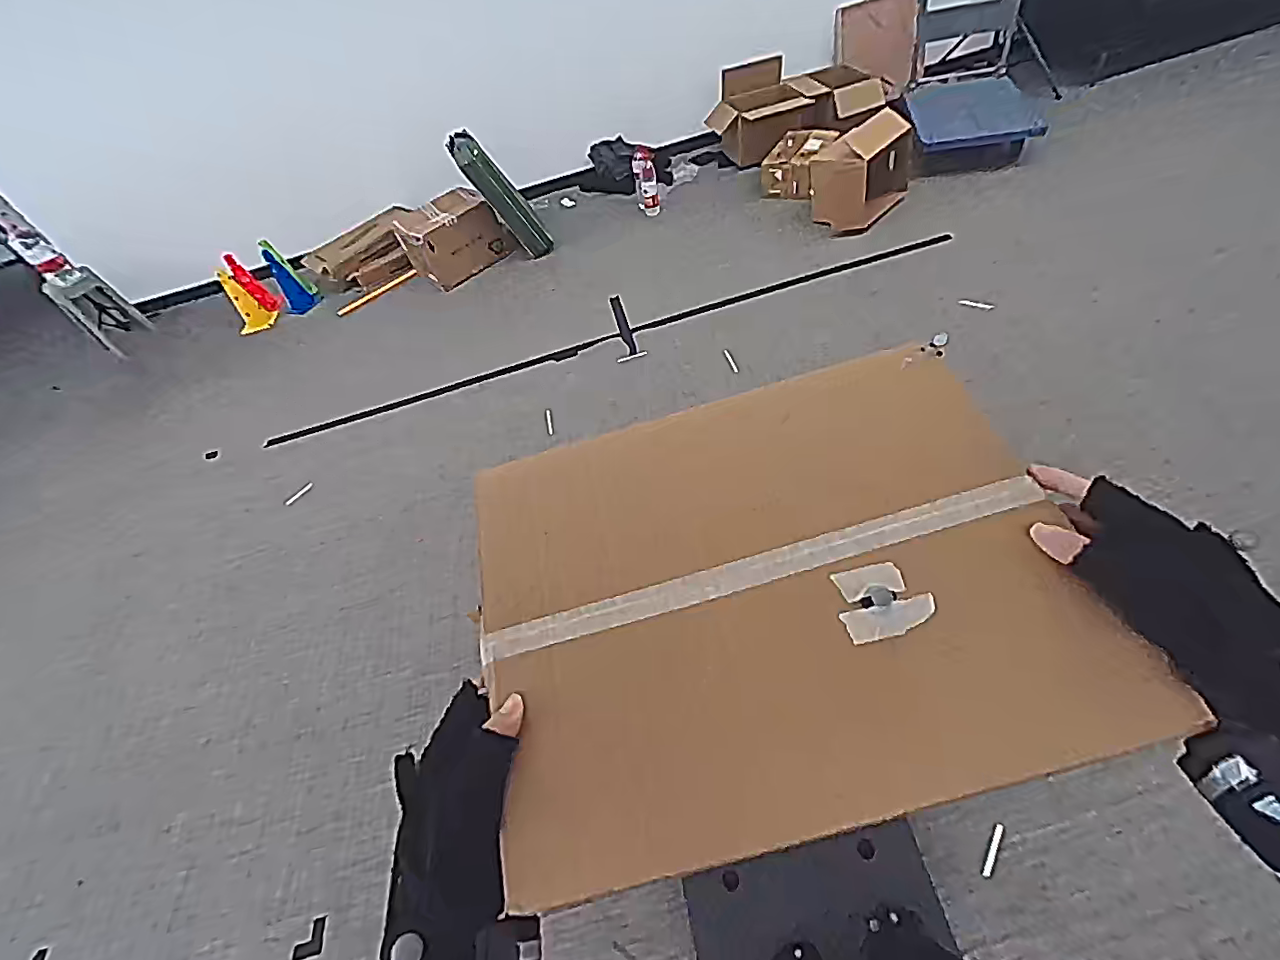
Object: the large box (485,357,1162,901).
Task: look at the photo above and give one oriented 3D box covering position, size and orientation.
[{"bbox_3d":[0.109,0.148,0.524,0.408,0.320,0.320,-17,58,1],"label":"large box"}]
